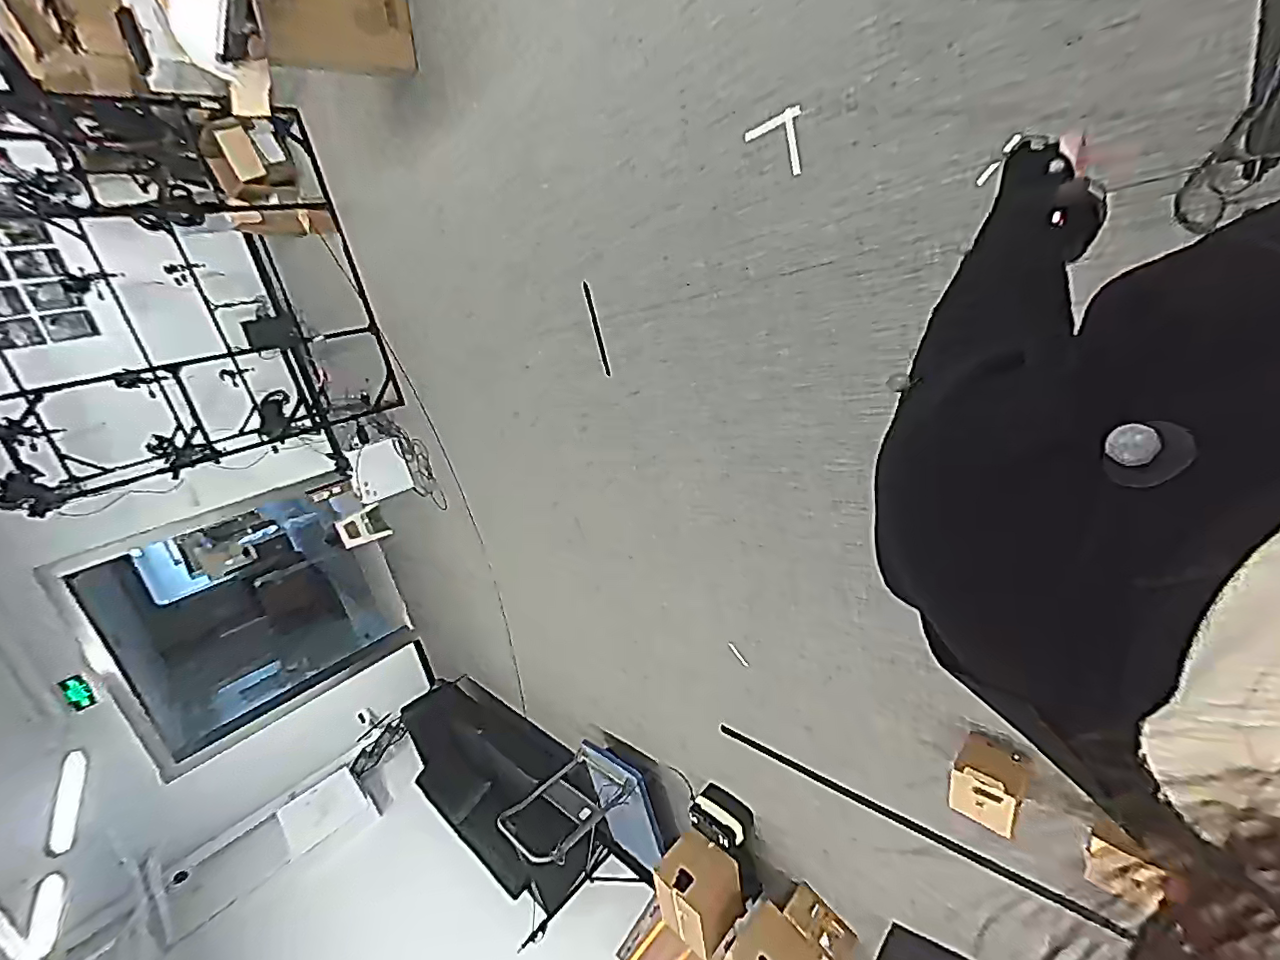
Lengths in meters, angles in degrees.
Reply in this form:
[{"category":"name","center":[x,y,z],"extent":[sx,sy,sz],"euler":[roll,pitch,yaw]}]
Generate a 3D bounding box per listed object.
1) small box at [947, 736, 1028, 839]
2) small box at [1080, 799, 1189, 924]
[{"category":"small box","center":[1.053,0.921,1.638],"extent":[0.168,0.176,0.179],"euler":[14,122,44]},{"category":"small box","center":[1.283,0.974,1.405],"extent":[0.179,0.176,0.168],"euler":[14,121,45]}]
